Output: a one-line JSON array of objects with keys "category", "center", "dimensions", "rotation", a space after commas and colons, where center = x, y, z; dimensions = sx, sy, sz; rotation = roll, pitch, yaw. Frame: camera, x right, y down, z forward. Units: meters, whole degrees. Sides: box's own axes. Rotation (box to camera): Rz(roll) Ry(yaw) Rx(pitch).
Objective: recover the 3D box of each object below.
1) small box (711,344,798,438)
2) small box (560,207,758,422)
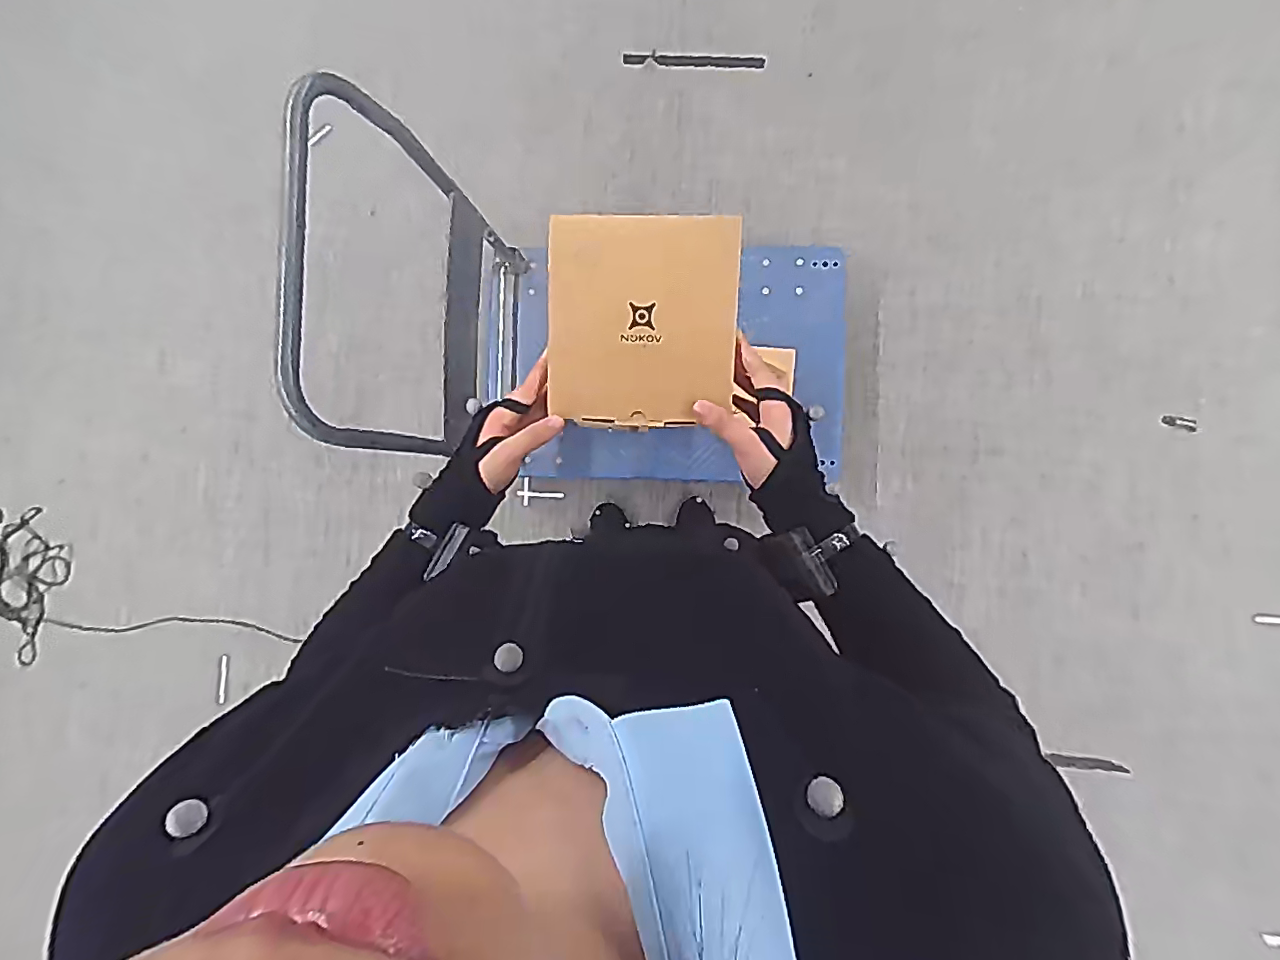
[{"category": "small box", "center": [0.250, -0.197, 1.219], "dimensions": [0.168, 0.176, 0.179], "rotation": [5, 89, 5]}, {"category": "small box", "center": [0.018, -0.151, 0.539], "dimensions": [0.168, 0.176, 0.179], "rotation": [2, 99, 4]}]
